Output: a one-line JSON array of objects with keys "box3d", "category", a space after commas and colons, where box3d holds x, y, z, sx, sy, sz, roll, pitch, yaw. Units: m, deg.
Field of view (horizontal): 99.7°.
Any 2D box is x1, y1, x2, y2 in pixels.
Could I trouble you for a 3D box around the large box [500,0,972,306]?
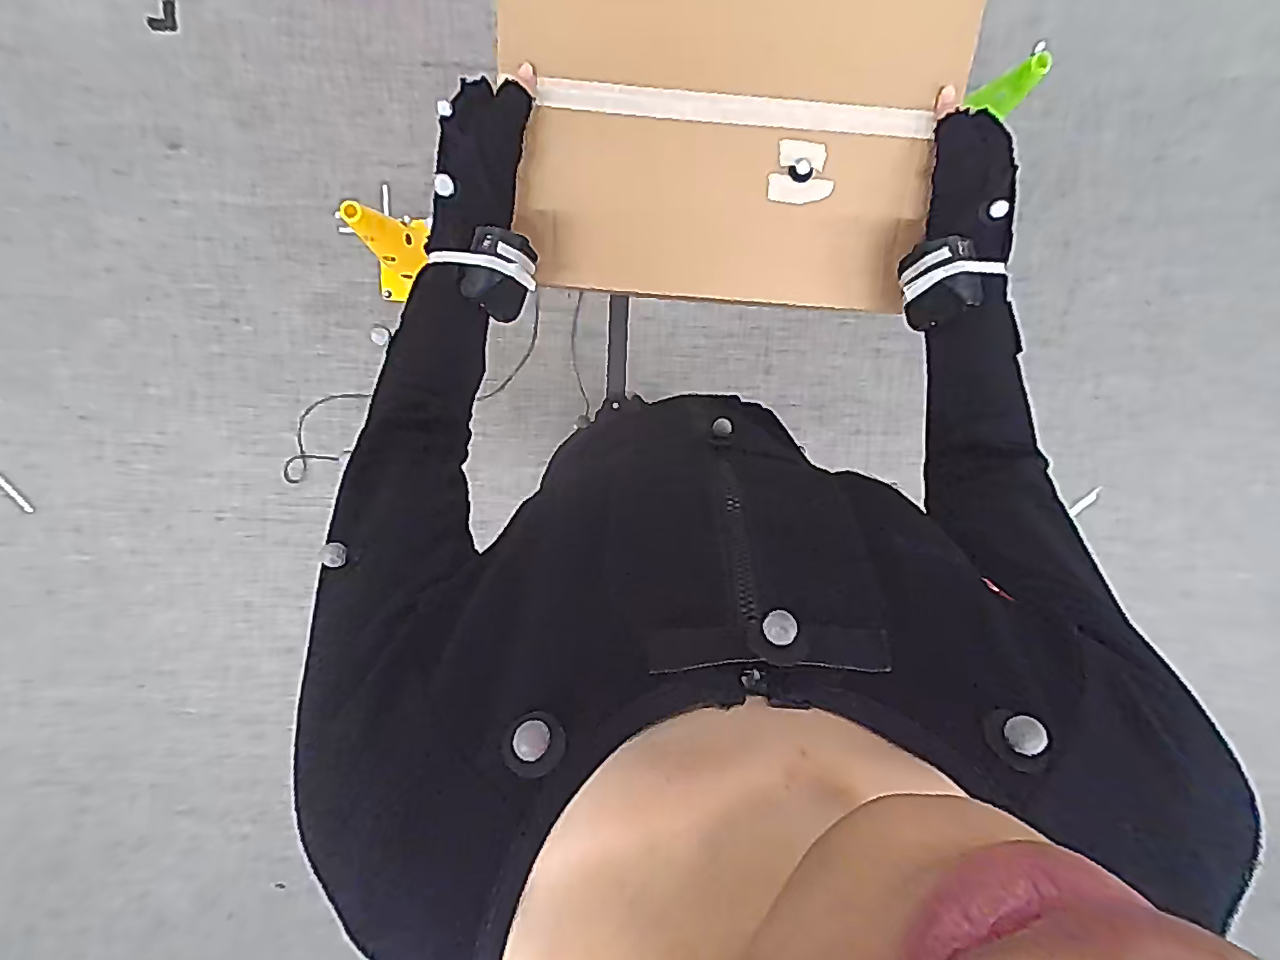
[{"box3d": [0.071, -0.373, 0.619, 0.408, 0.320, 0.320, 3, 108, -3], "category": "large box"}]
